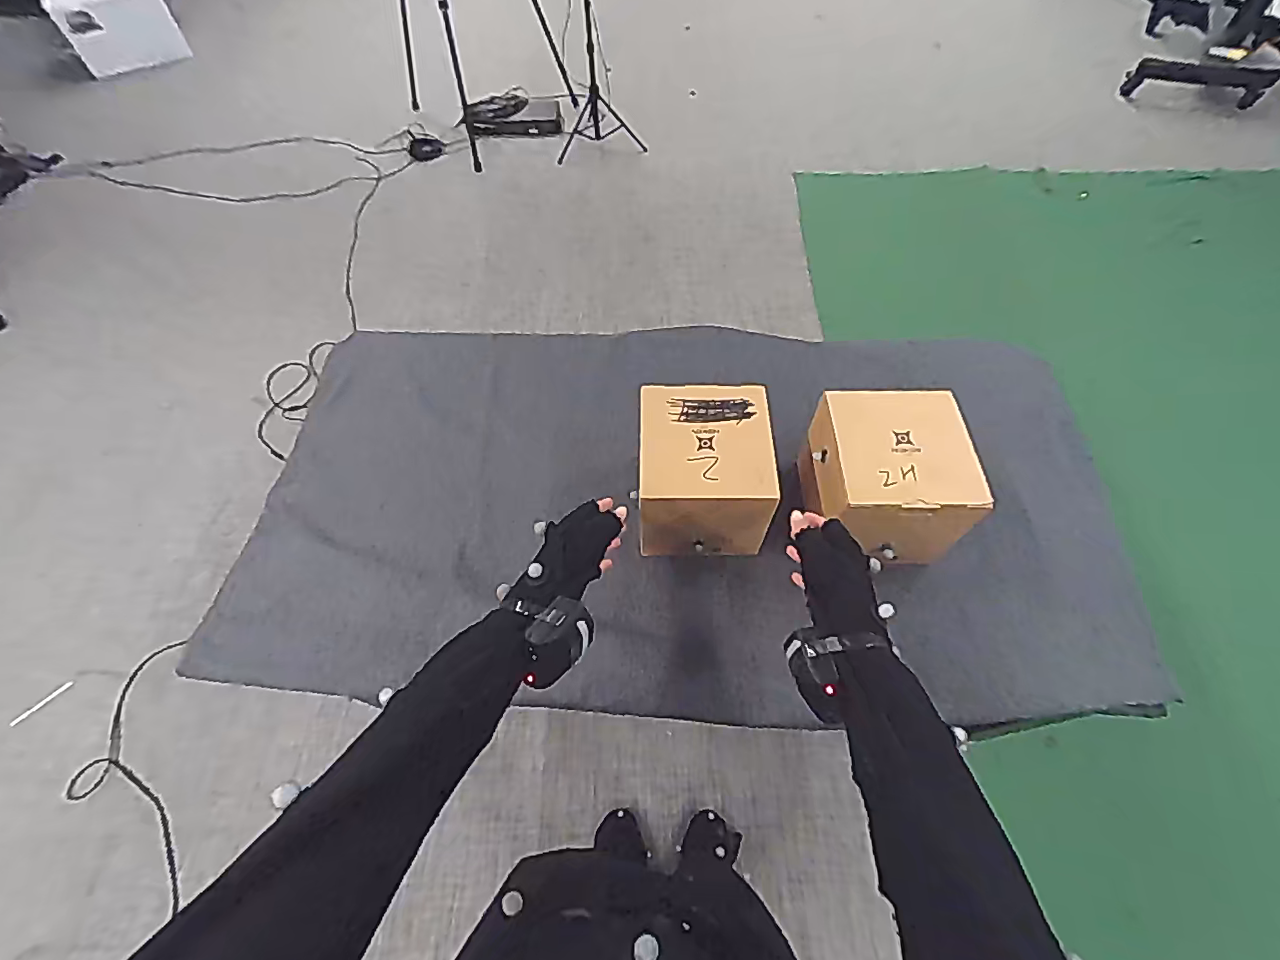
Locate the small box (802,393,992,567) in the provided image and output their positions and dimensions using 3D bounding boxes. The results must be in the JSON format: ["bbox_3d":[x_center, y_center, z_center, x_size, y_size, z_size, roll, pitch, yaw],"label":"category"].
[{"bbox_3d":[0.326,0.002,0.731,0.168,0.176,0.179,0,57,3],"label":"small box"}]
